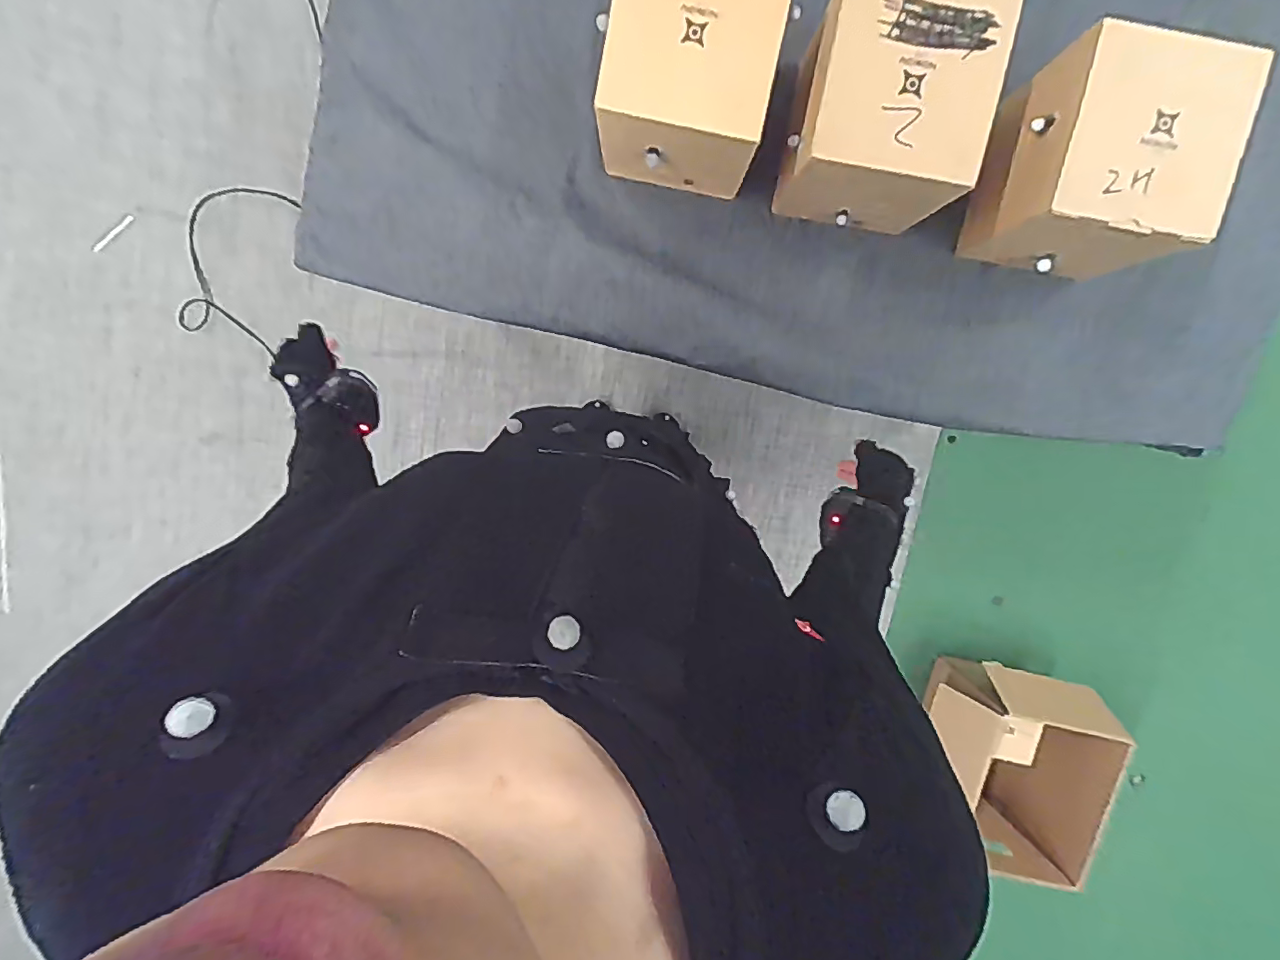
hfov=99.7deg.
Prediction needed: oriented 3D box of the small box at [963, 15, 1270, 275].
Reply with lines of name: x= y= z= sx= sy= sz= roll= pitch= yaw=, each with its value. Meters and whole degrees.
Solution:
small box: x=0.494 y=-0.345 z=0.594 sx=0.168 sy=0.176 sz=0.179 roll=11 pitch=99 yaw=0
